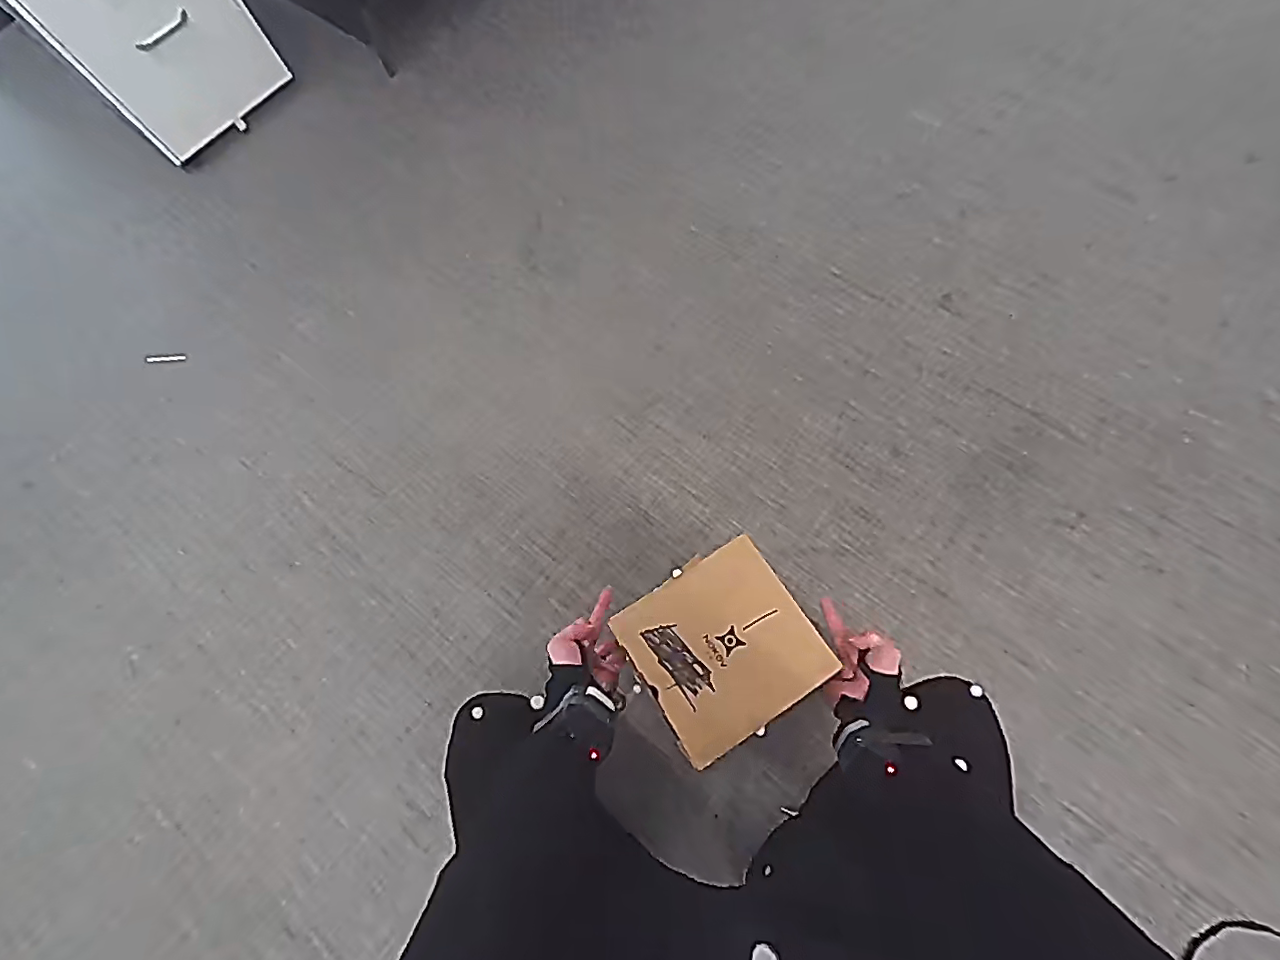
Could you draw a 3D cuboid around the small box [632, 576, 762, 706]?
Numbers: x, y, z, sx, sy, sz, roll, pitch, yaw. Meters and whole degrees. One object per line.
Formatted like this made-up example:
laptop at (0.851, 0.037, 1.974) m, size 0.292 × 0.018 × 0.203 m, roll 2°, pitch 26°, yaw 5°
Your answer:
small box at (0.101, 0.280, 0.932) m, size 0.179 × 0.176 × 0.168 m, roll 13°, pitch 71°, yaw 12°
